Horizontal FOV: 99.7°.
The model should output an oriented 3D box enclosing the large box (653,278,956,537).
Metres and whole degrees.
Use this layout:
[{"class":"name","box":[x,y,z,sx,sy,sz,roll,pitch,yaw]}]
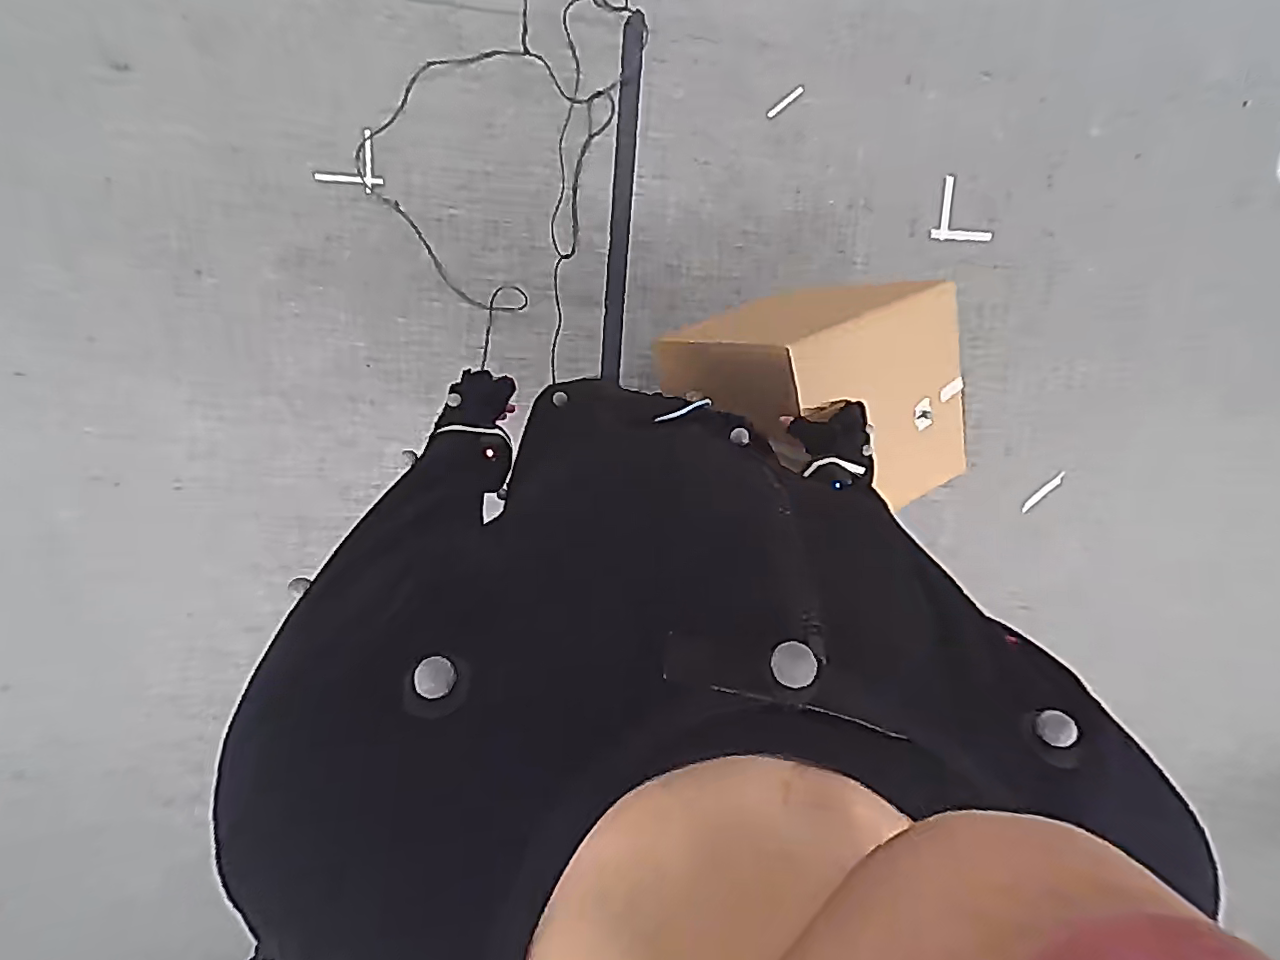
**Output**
[{"class":"large box","box":[0.279,-0.149,0.982,0.320,0.408,0.320,-25,112,-17]}]
